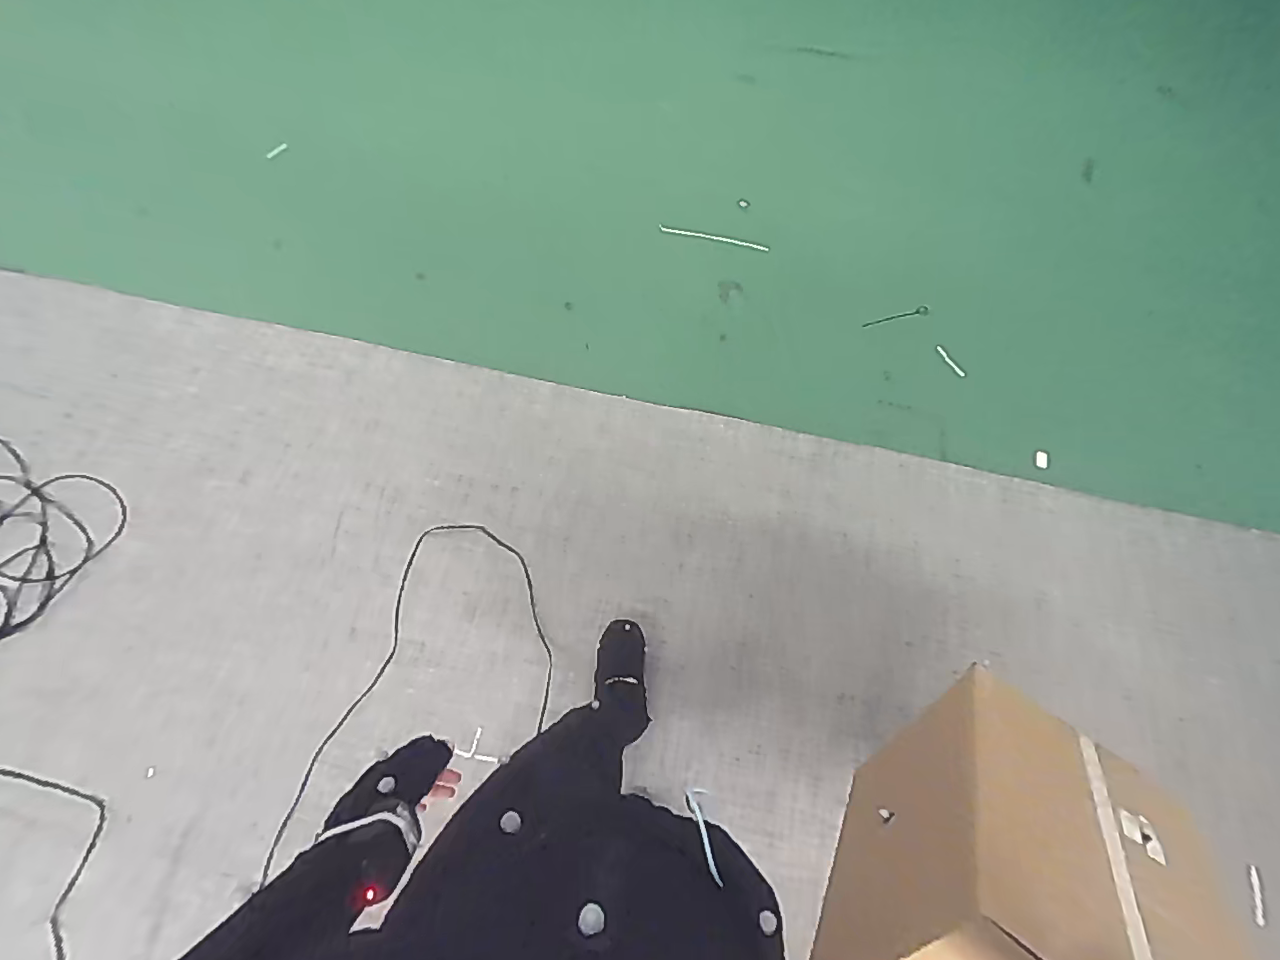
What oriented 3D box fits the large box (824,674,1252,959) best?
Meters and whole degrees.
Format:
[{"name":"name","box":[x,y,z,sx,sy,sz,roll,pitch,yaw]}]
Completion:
[{"name":"large box","box":[0.467,0.546,0.676,0.320,0.320,0.408,36,31,16]}]
